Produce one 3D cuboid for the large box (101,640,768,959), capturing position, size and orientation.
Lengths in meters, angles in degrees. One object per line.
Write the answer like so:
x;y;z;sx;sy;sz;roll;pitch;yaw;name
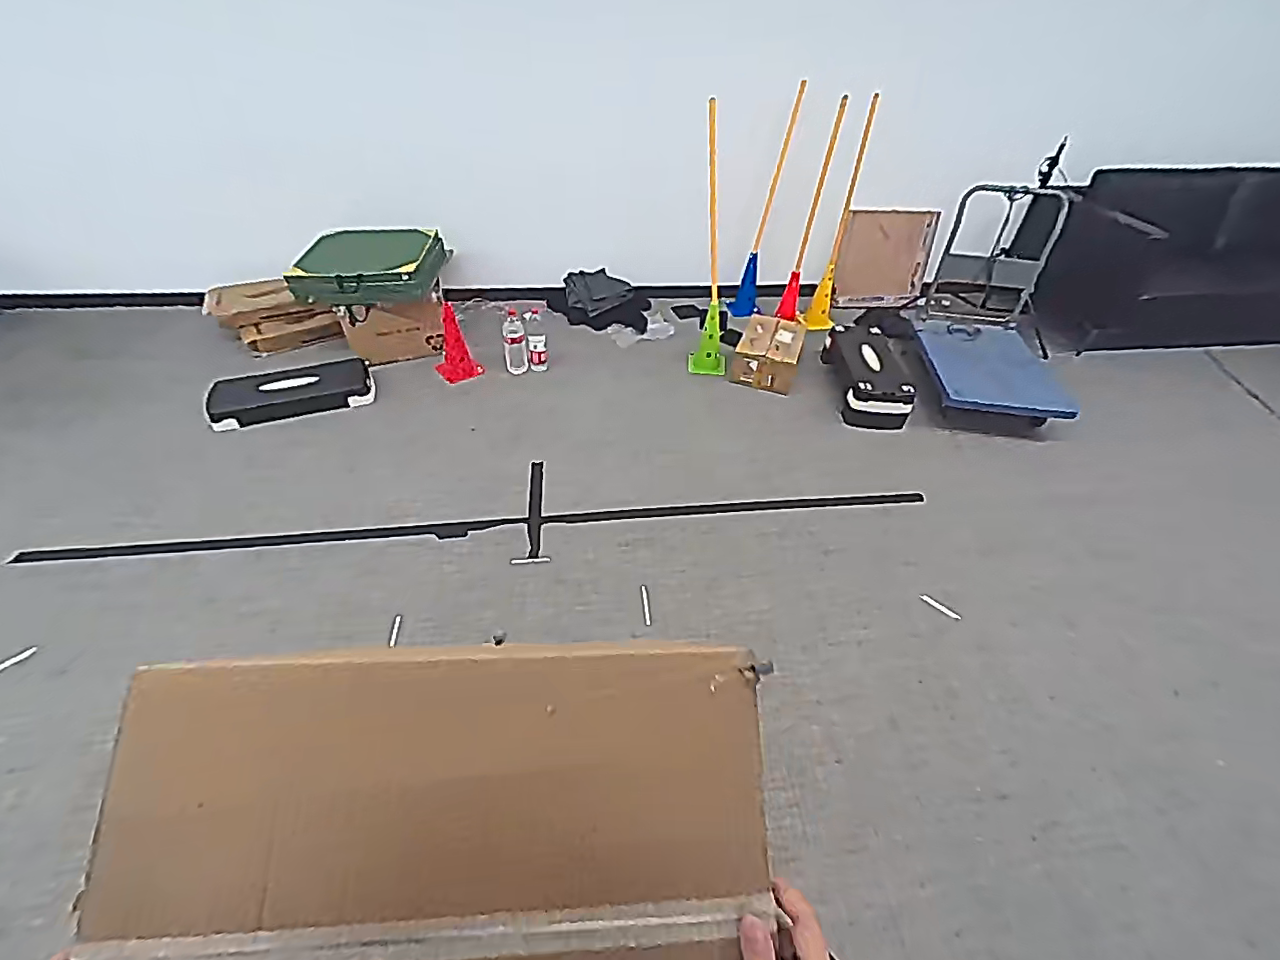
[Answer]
-0.132;0.312;0.477;0.408;0.320;0.320;0;76;-6;large box
